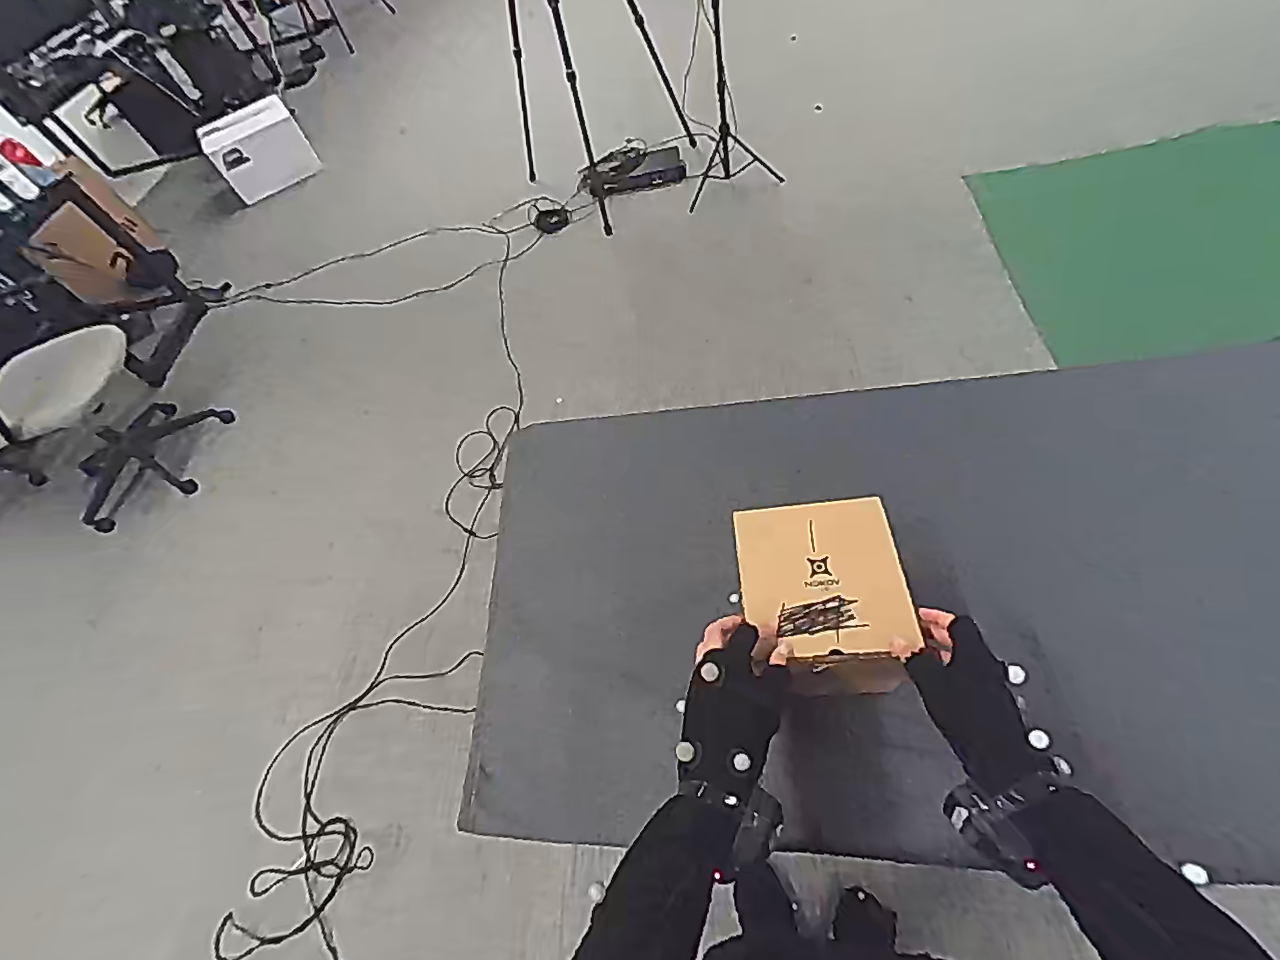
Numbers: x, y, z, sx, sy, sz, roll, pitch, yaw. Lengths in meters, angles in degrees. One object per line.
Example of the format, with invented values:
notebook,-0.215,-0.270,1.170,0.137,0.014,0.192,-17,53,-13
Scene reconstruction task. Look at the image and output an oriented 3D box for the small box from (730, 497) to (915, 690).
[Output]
small box,0.201,0.143,0.638,0.168,0.176,0.179,-7,55,9
